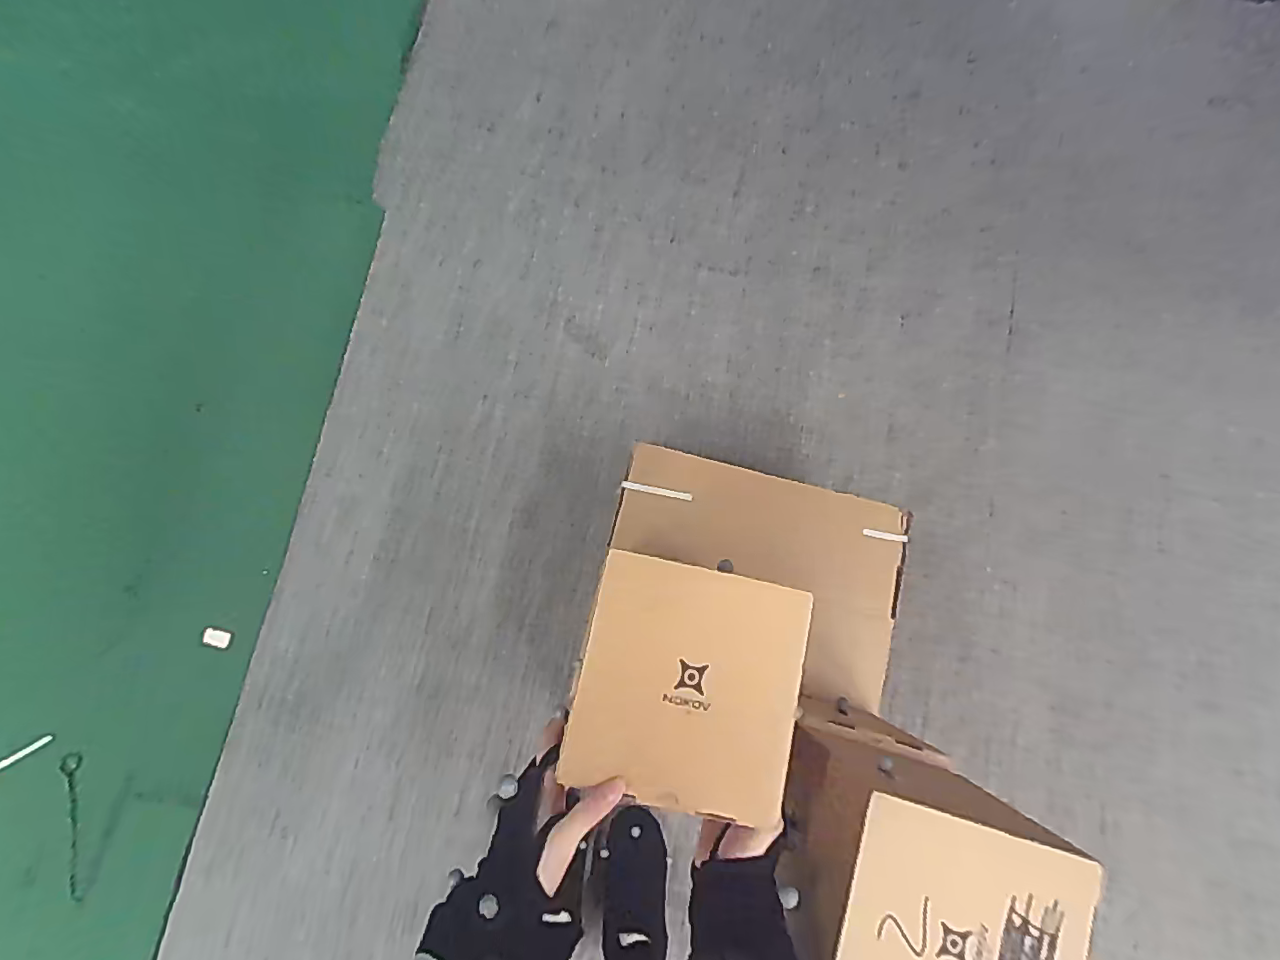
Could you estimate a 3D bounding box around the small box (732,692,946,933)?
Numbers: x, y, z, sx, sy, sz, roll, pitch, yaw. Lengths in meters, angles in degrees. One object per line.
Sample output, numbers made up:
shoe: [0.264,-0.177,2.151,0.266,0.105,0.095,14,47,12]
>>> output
small box: [0.211,0.352,0.620,0.168,0.176,0.179,17,79,1]

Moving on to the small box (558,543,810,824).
small box: [0.034,0.164,0.487,0.168,0.176,0.179,13,80,1]
